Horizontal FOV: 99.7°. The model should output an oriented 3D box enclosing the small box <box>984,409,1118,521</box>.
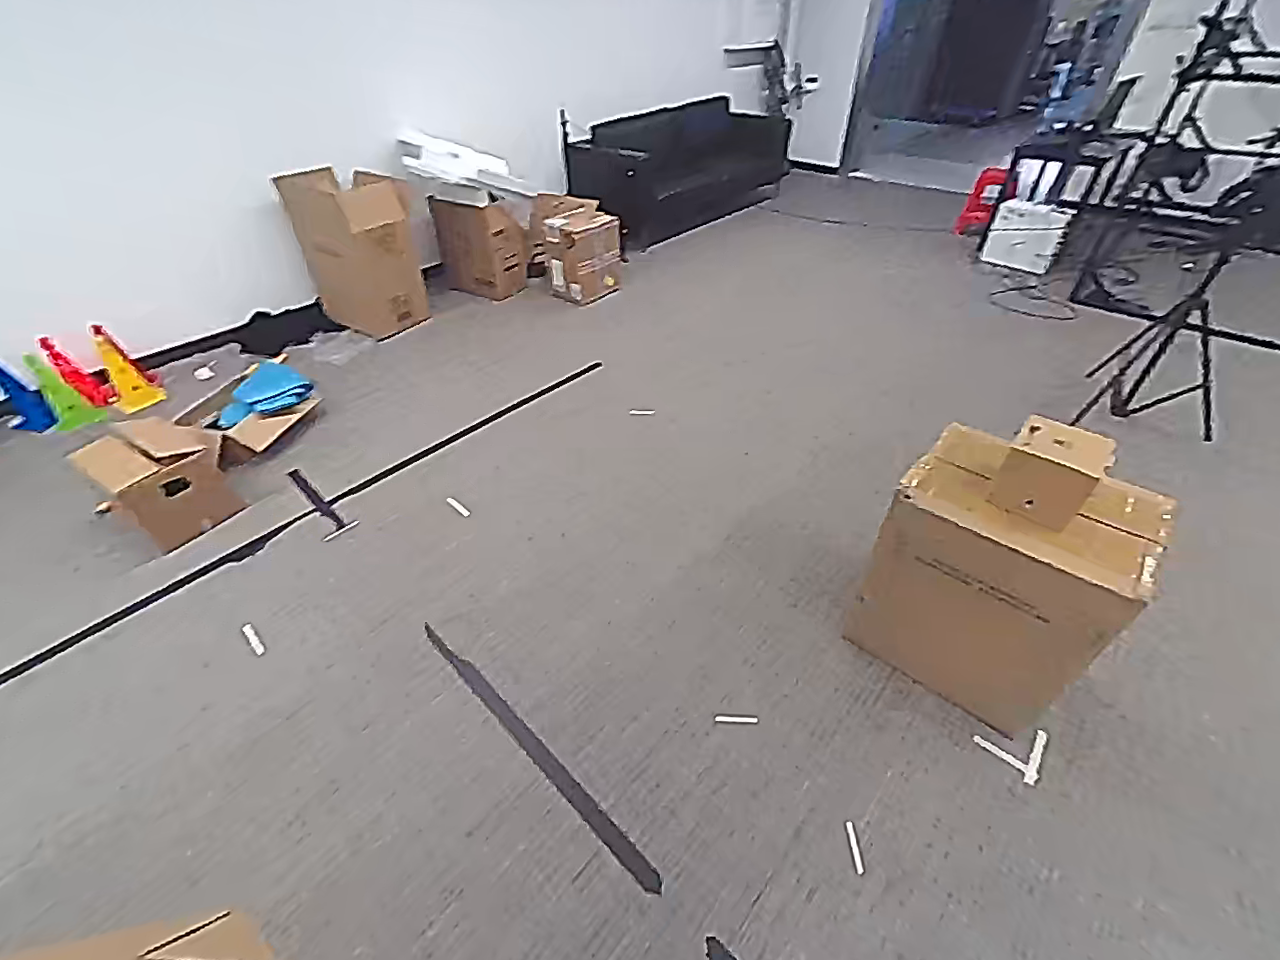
[{"bbox_3d":[0.942,-0.031,1.249,0.179,0.176,0.168,30,51,31],"label":"small box"}]
